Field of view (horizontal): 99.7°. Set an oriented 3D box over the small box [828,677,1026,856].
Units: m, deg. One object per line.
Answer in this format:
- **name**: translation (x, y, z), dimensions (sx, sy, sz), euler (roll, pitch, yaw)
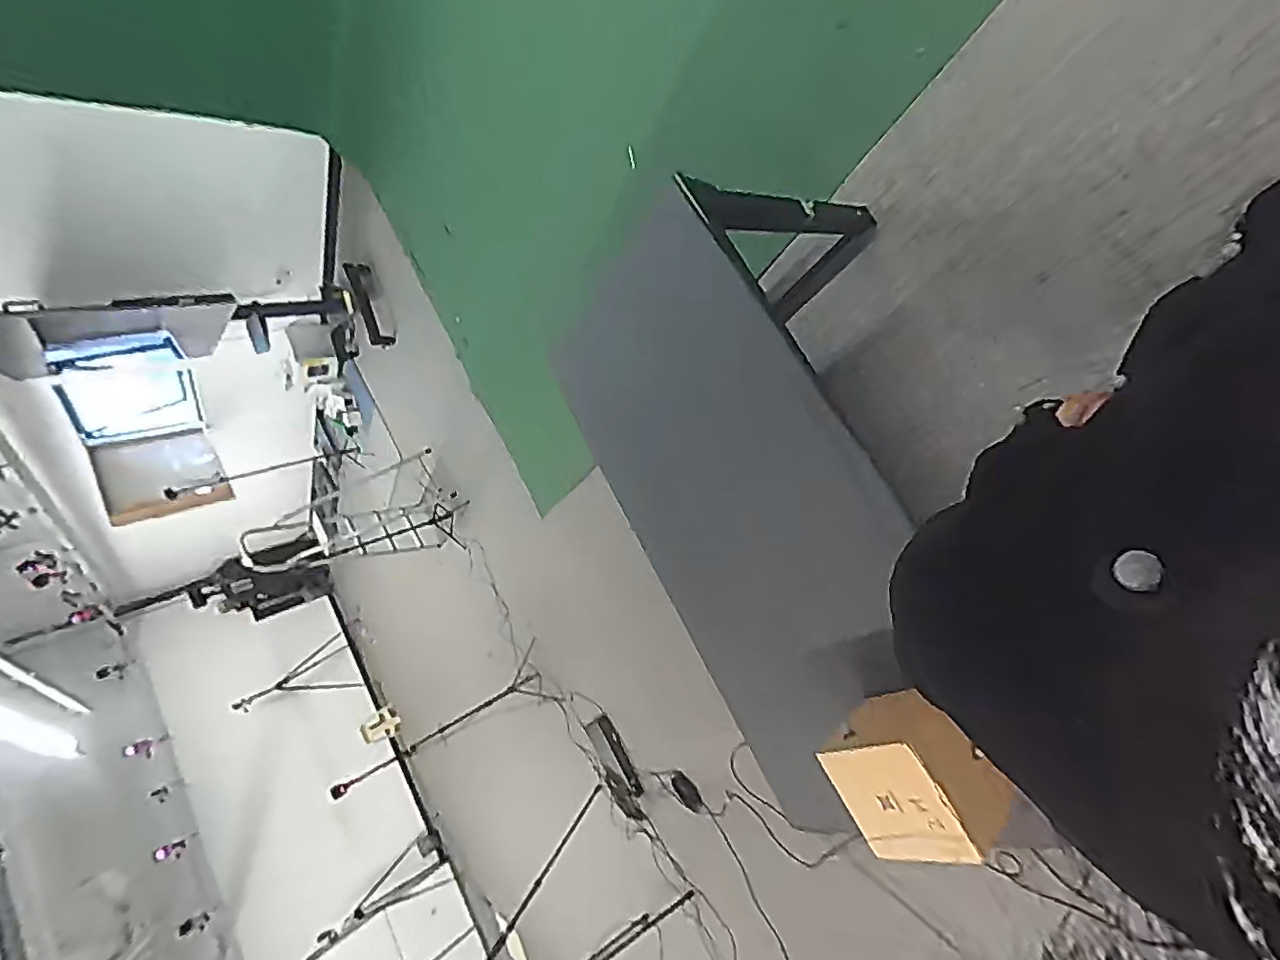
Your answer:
- **small box**: translation (0.430, 0.424, 0.814), dimensions (0.168, 0.176, 0.179), euler (58, 140, 12)
